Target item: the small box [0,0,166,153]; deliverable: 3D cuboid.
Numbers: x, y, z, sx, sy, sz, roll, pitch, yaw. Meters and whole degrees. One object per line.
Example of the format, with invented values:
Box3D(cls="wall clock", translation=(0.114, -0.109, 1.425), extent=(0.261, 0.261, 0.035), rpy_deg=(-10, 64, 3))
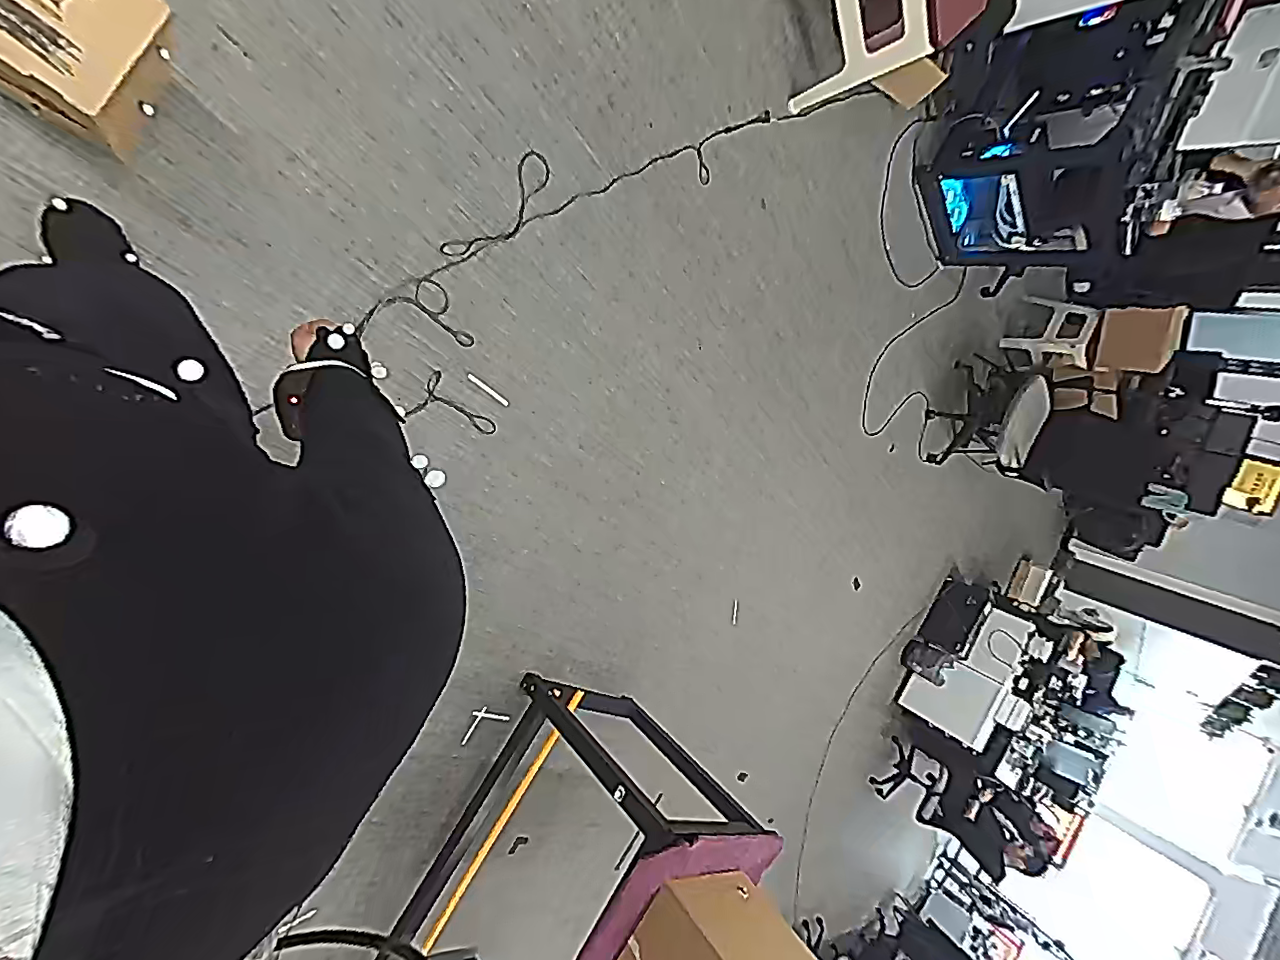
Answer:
Box3D(cls="small box", translation=(-0.843, -0.623, 0.796), extent=(0.168, 0.176, 0.179), rpy_deg=(29, 88, -44))
